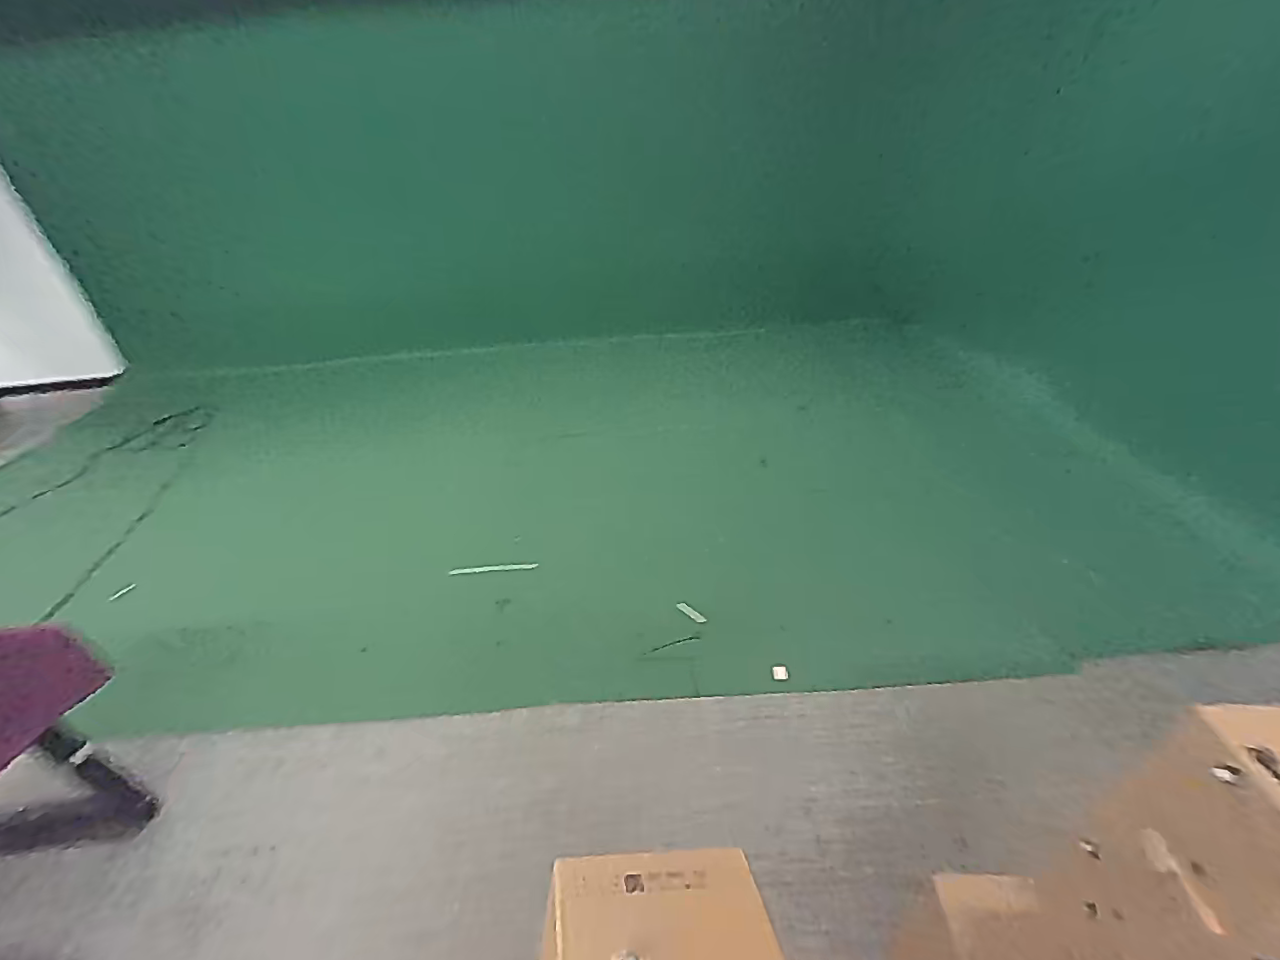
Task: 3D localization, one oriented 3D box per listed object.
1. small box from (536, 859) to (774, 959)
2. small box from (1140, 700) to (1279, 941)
[{"bbox_3d":[0.007,0.418,0.403,0.168,0.179,0.176,5,16,-13],"label":"small box"},{"bbox_3d":[0.688,0.351,0.555,0.179,0.176,0.168,-1,35,6],"label":"small box"}]
